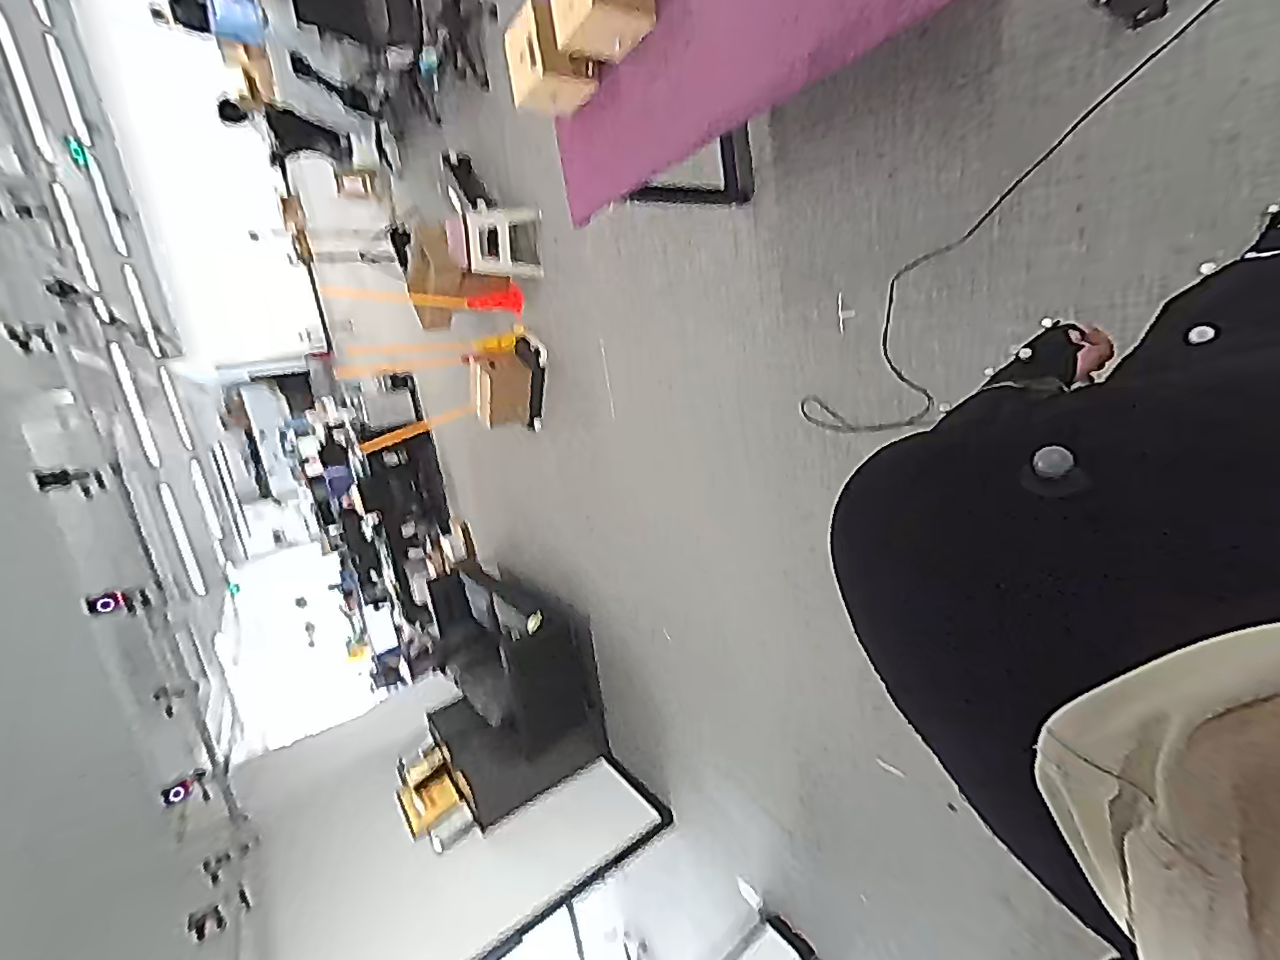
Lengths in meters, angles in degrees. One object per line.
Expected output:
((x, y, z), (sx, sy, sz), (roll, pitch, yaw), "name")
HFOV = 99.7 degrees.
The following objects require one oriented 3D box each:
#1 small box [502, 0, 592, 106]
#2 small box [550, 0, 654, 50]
((-0.234, -1.104, 1.401), (0.179, 0.176, 0.168), (11, 114, 54), "small box")
((-0.089, -1.098, 1.191), (0.168, 0.176, 0.179), (12, 115, 54), "small box")
